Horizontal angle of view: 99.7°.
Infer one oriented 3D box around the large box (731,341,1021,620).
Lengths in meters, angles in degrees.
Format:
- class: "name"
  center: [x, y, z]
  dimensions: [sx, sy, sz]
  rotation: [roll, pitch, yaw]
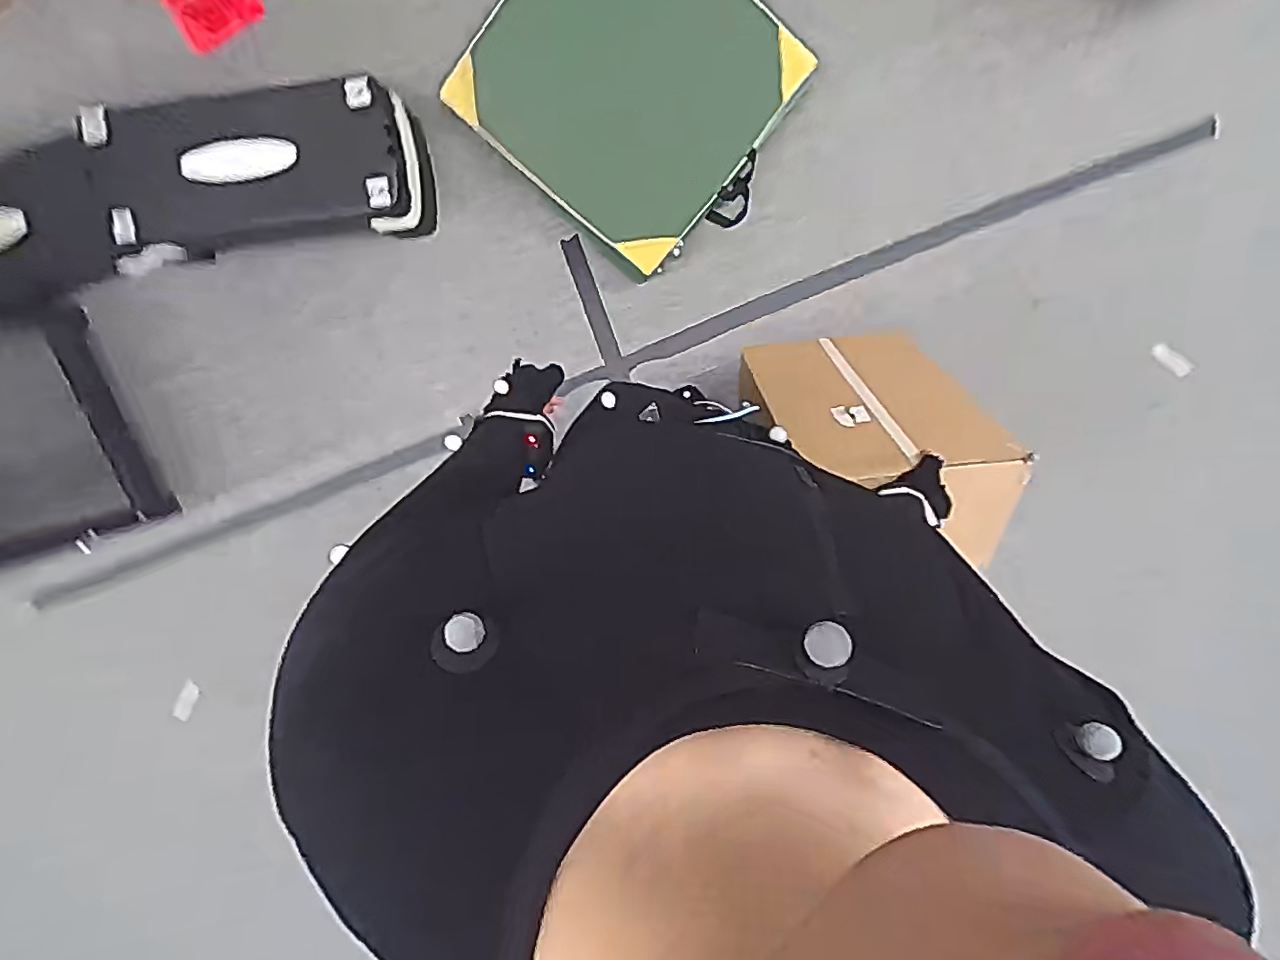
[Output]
- class: "large box"
  center: [0.360, -0.013, 0.974]
  dimensions: [0.320, 0.408, 0.320]
  rotation: [-6, 130, 0]
